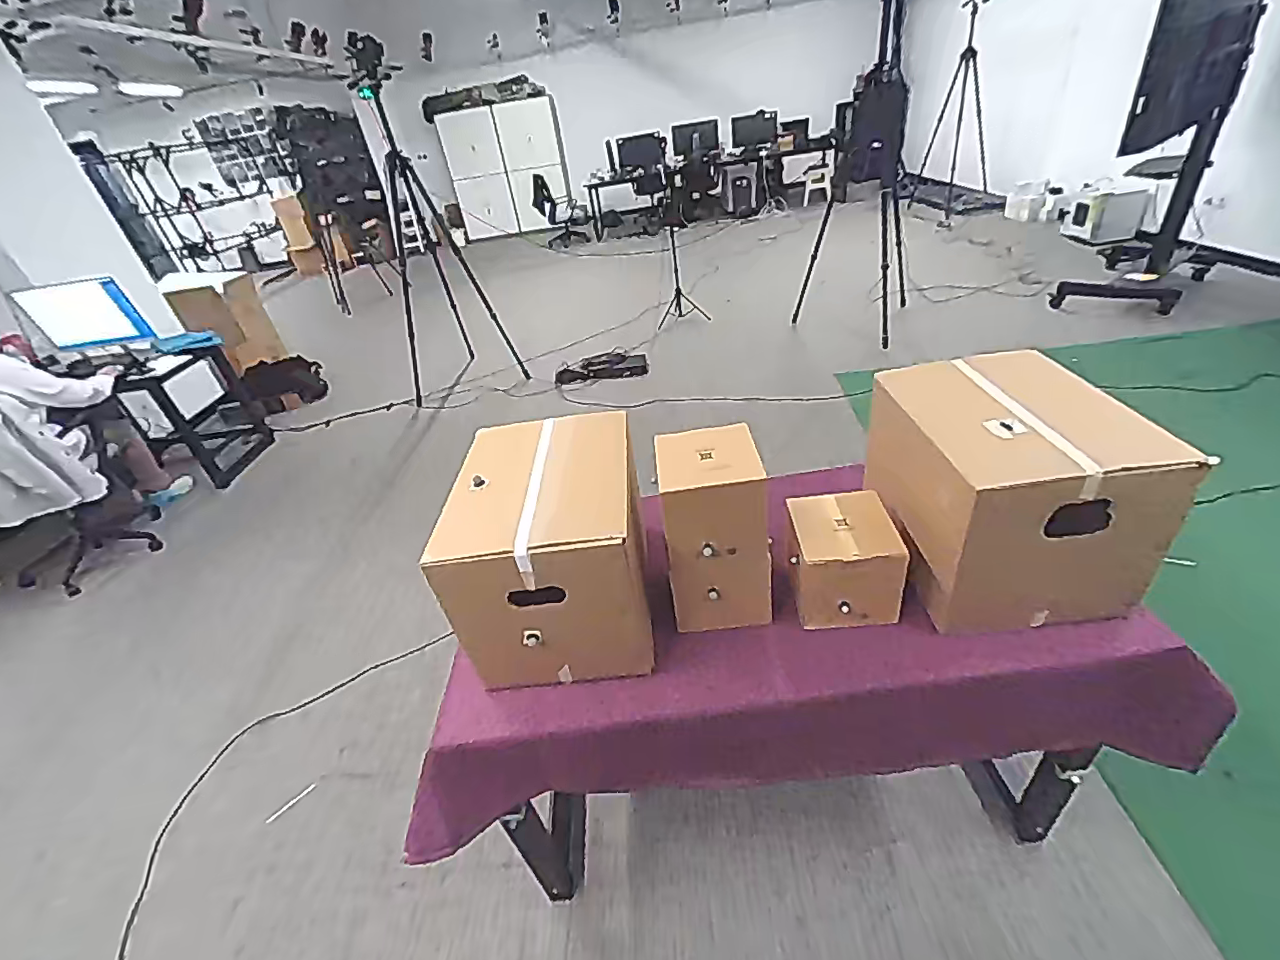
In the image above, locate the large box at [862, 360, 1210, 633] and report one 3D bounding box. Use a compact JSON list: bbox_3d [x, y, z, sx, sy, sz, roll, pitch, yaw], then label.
[{"bbox_3d":[0.643,0.014,0.992,0.320,0.320,0.408,-7,35,5],"label":"large box"}]
